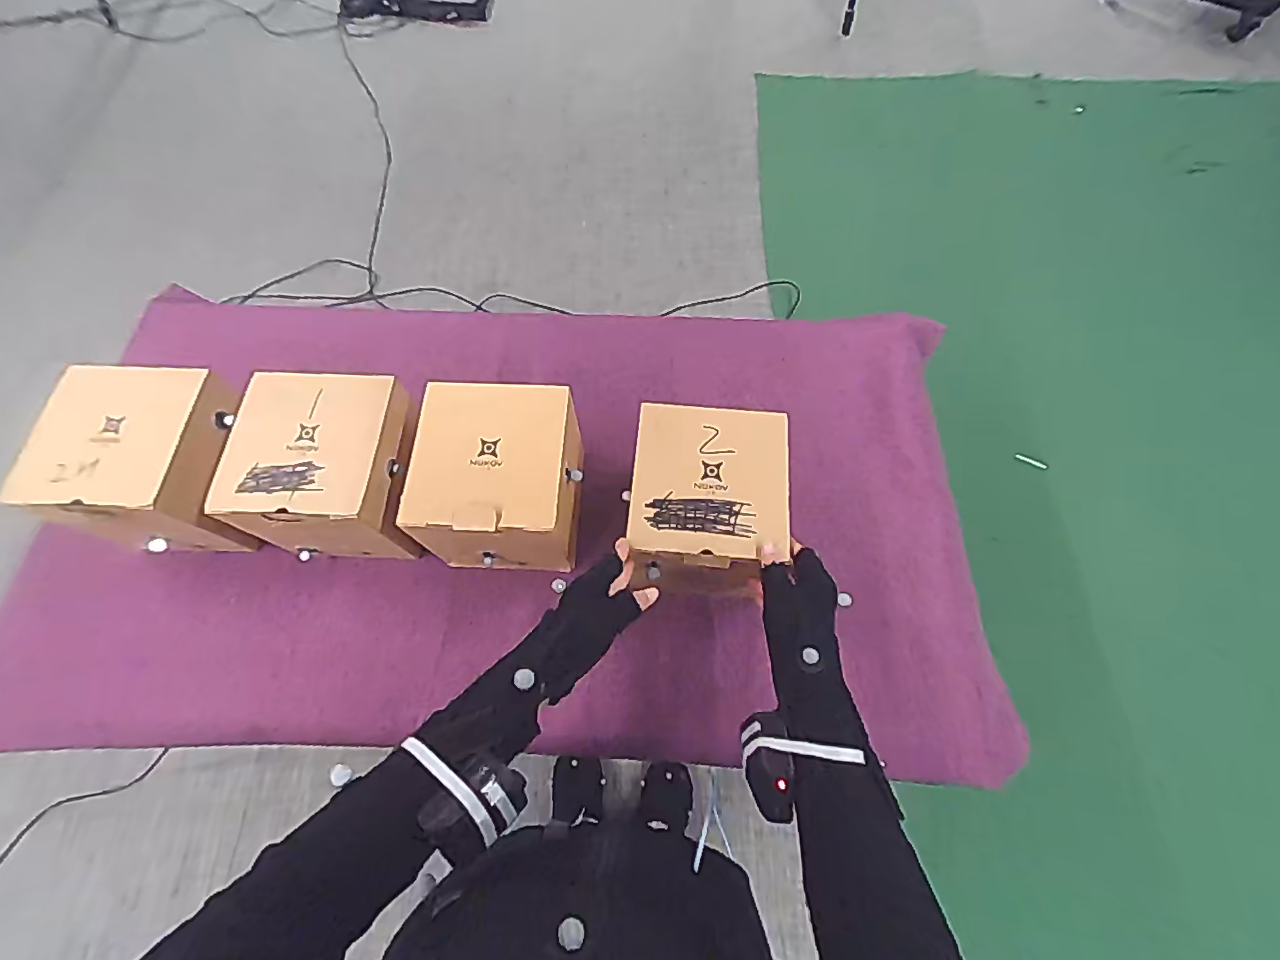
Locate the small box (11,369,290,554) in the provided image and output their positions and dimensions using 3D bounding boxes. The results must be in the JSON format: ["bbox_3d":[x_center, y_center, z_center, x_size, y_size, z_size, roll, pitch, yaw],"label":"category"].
[{"bbox_3d":[-0.579,-0.017,0.675,0.168,0.176,0.179,2,67,2],"label":"small box"}]

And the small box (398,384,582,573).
[{"bbox_3d":[-0.166,0.004,0.665,0.168,0.176,0.179,2,67,2],"label":"small box"}]
